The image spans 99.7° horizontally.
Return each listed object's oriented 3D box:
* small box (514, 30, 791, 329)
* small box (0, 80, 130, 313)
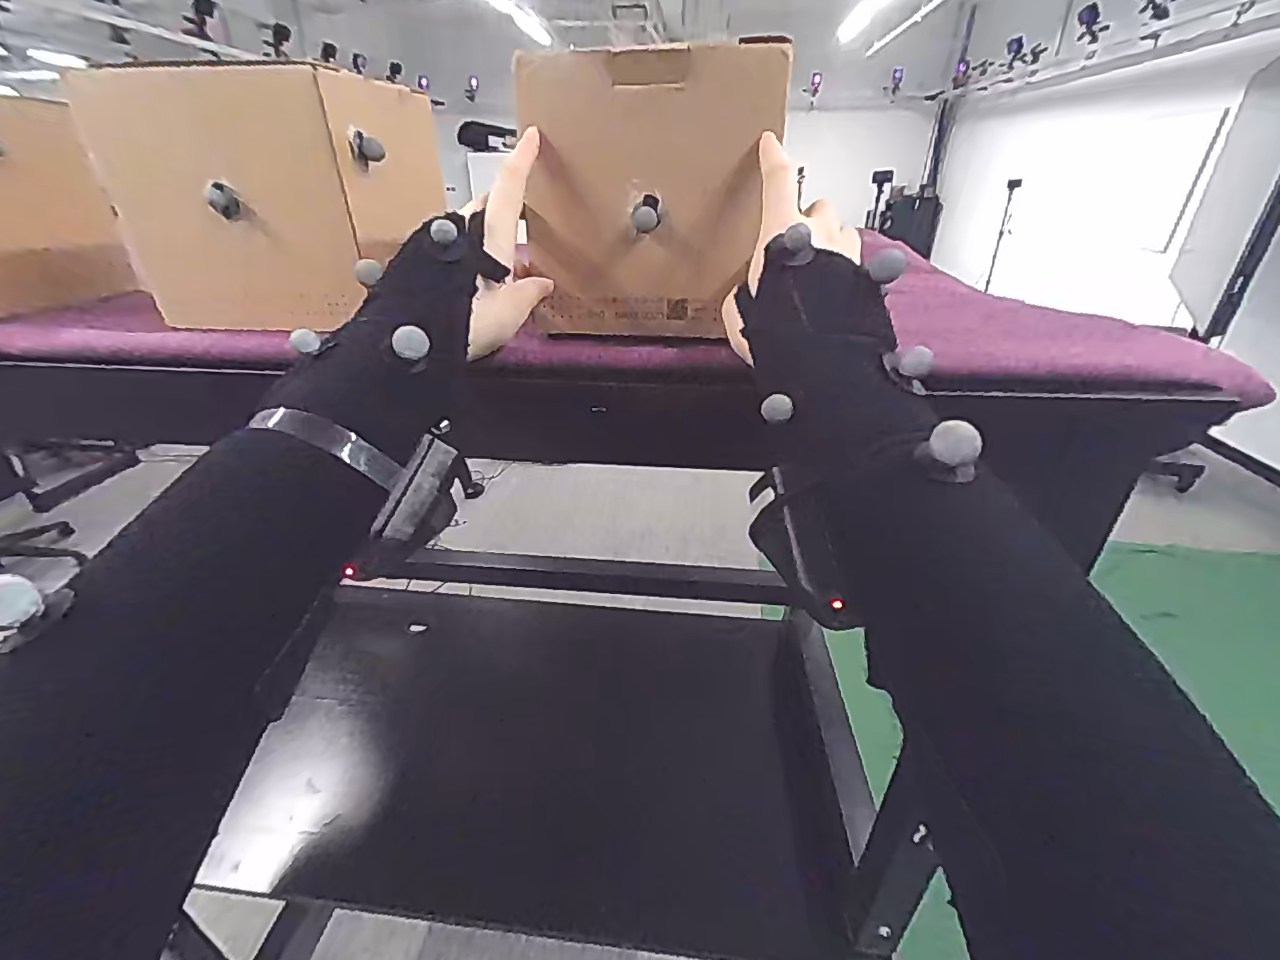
[{"bbox_3d":[0.017,-0.218,0.420,0.168,0.176,0.179,3,28,6],"label":"small box"},{"bbox_3d":[-0.597,-0.242,0.459,0.168,0.176,0.179,2,28,2],"label":"small box"}]
